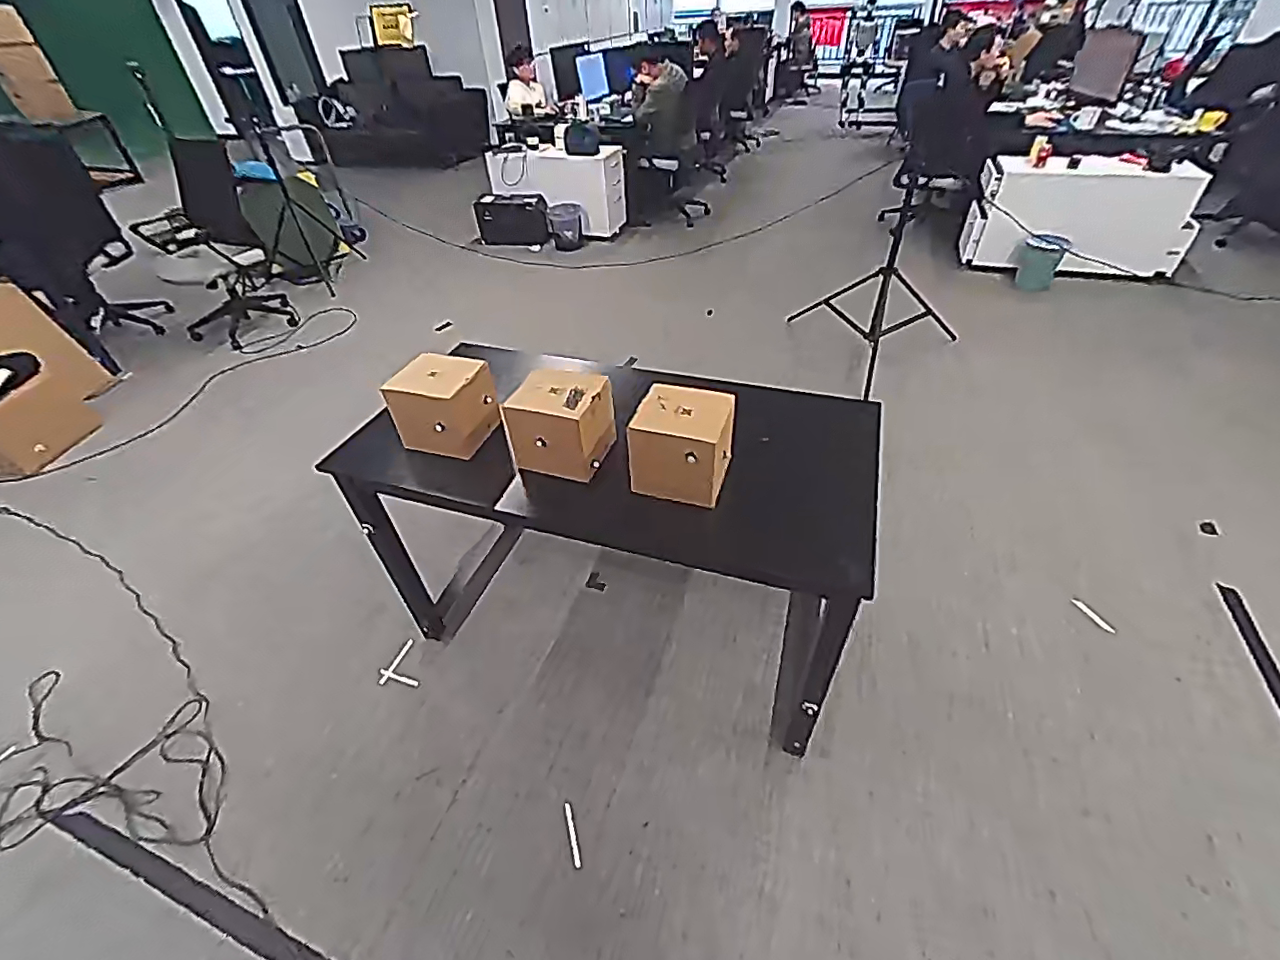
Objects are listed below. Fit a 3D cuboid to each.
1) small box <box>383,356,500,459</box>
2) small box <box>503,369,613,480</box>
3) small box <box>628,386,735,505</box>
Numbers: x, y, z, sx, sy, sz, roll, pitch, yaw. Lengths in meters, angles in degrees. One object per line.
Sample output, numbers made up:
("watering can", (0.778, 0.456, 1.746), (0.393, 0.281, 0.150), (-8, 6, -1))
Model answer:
("small box", (-0.449, -0.167, 1.256), (0.179, 0.176, 0.168), (9, 42, 14))
("small box", (-0.168, -0.119, 1.181), (0.179, 0.176, 0.168), (11, 44, 17))
("small box", (0.087, -0.069, 1.106), (0.179, 0.176, 0.168), (11, 43, 16))
